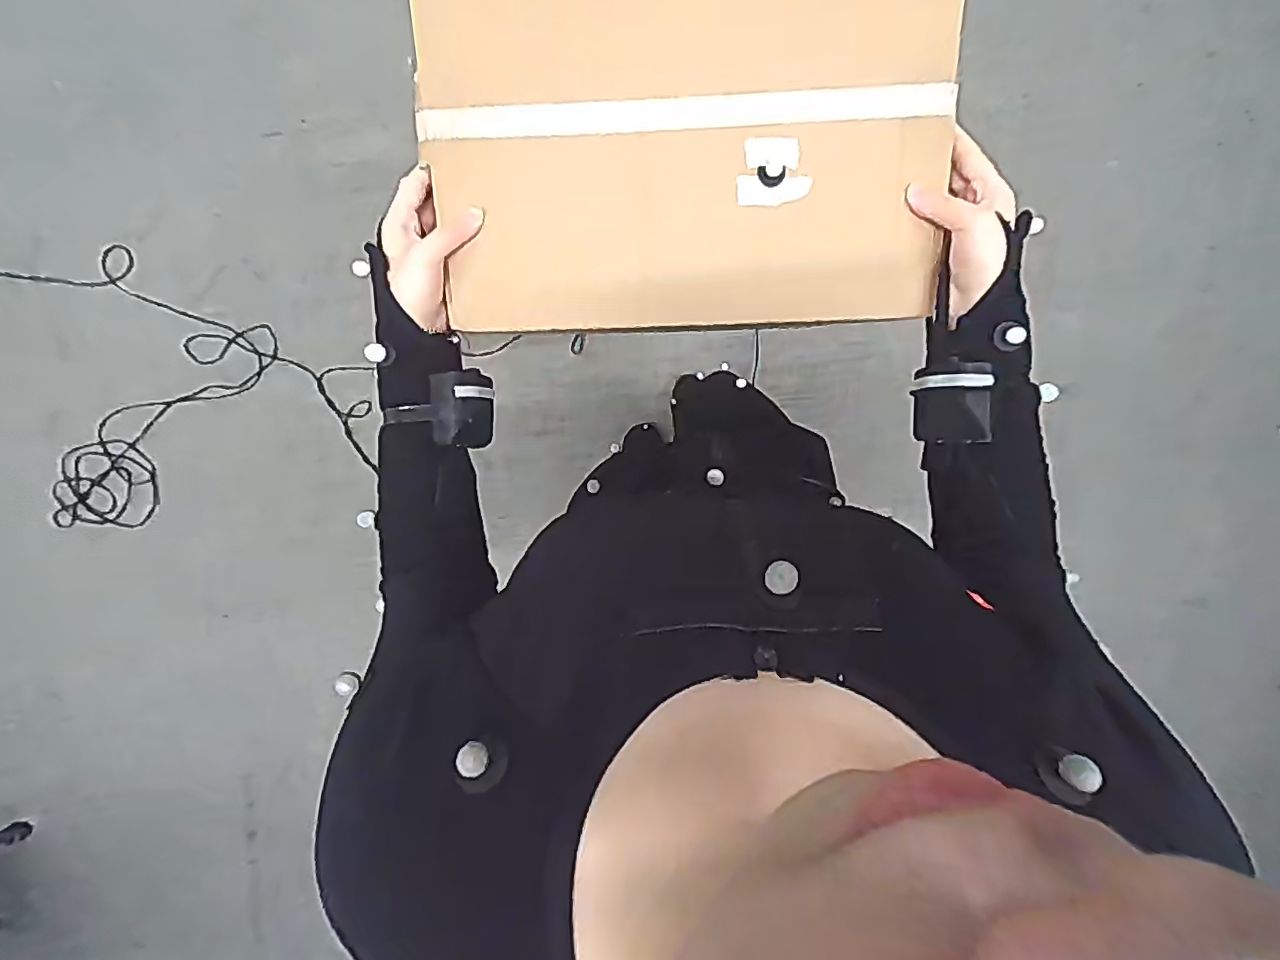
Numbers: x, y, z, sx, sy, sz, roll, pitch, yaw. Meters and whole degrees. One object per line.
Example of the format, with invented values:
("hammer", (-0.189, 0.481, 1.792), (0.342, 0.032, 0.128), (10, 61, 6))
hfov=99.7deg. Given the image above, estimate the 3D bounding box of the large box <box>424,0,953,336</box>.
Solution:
("large box", (0.038, -0.323, 0.569), (0.408, 0.320, 0.320), (-2, 105, 1))
